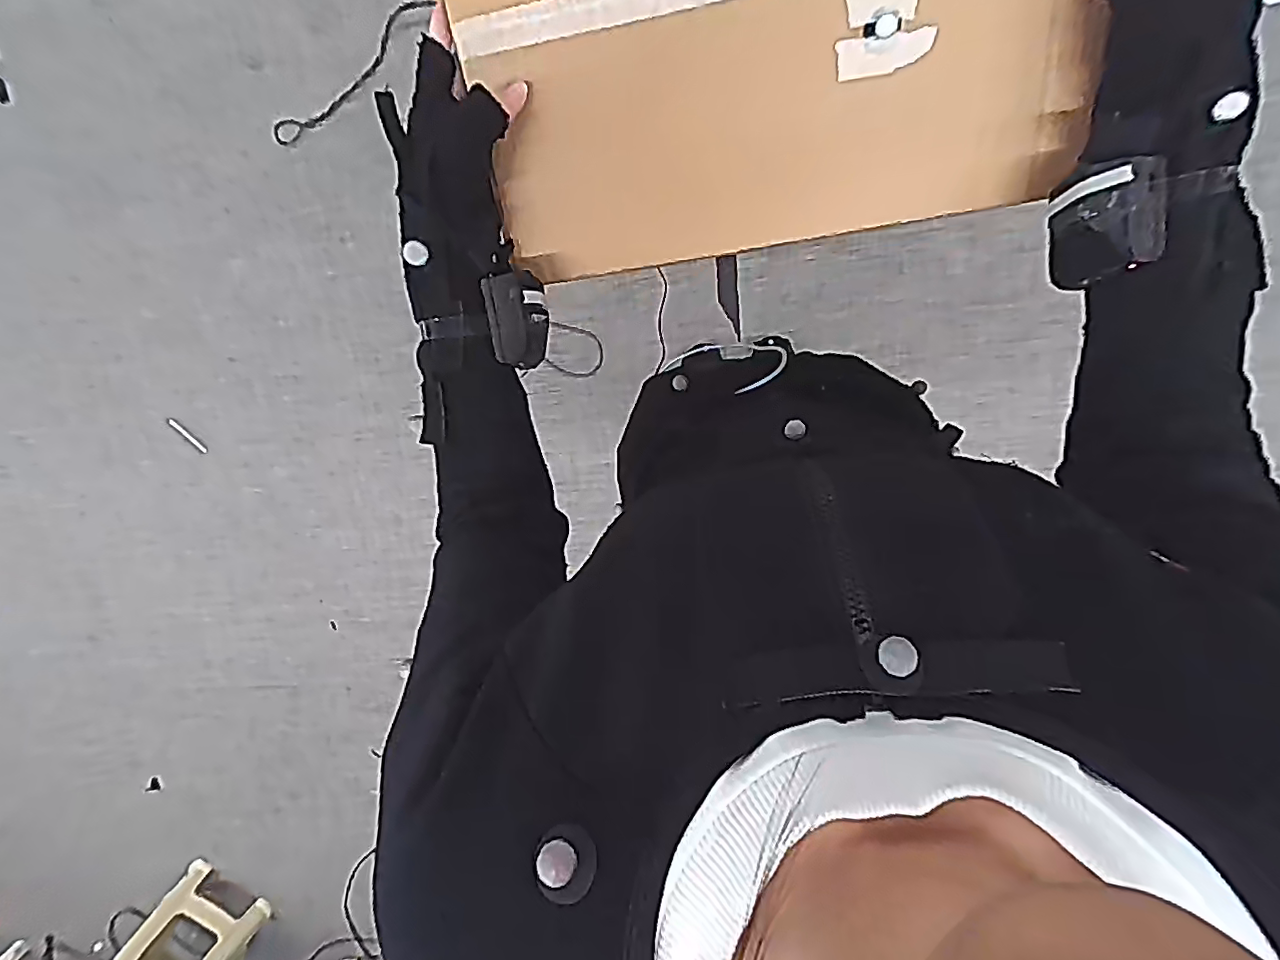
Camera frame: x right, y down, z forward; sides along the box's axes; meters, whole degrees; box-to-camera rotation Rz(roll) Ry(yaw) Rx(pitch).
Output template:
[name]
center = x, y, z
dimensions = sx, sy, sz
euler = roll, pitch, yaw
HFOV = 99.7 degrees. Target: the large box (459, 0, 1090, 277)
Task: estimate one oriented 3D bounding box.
[large box]
center = 0.086, -0.383, 0.479
dimensions = 0.408, 0.320, 0.320
euler = -8, 113, 7
